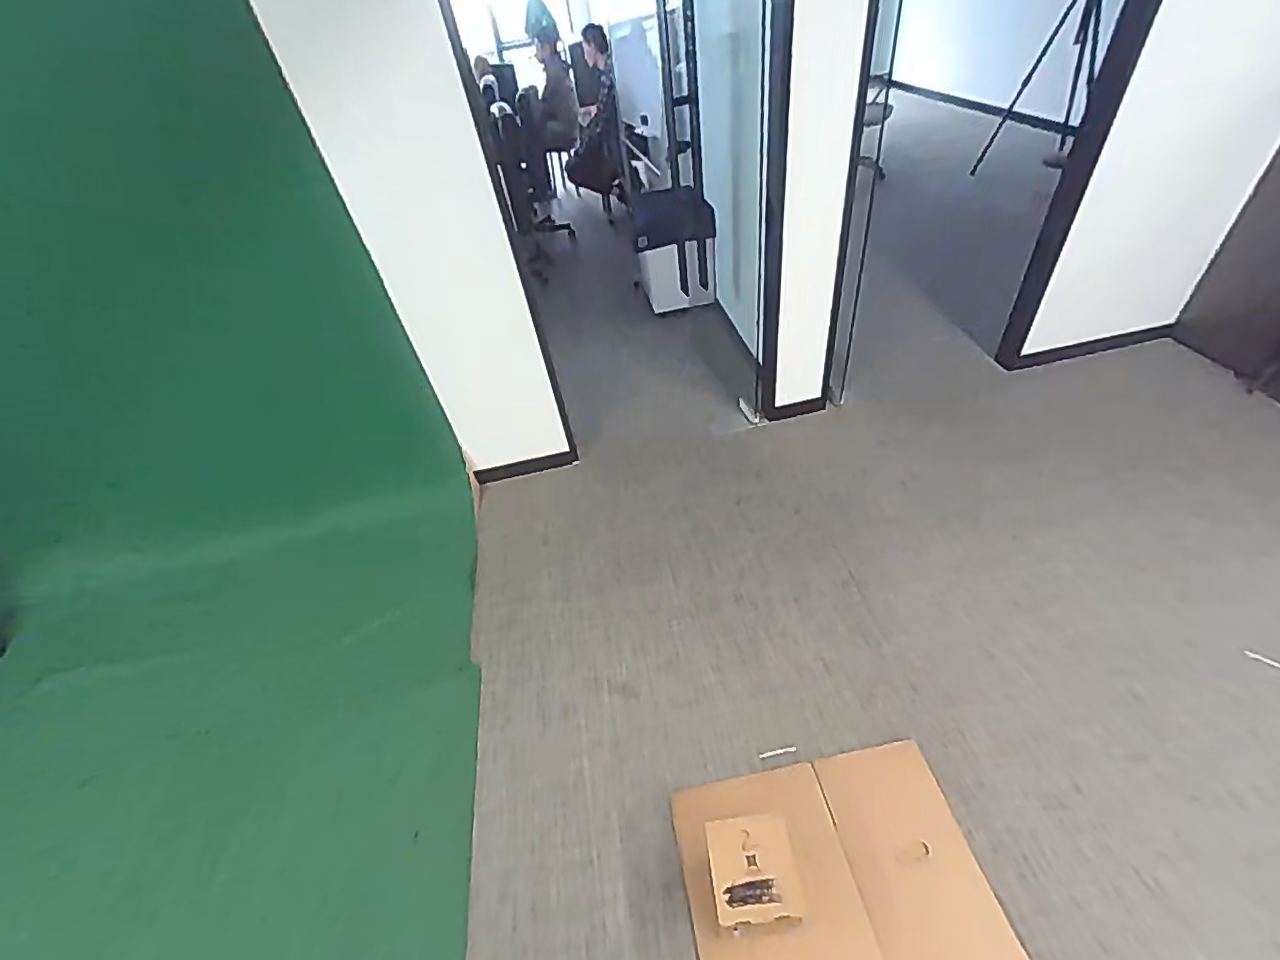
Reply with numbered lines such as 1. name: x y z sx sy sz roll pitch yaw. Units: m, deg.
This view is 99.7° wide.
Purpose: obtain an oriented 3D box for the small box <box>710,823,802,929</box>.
1. small box: 0.266 0.923 1.256 0.179 0.176 0.168 -8 44 2
